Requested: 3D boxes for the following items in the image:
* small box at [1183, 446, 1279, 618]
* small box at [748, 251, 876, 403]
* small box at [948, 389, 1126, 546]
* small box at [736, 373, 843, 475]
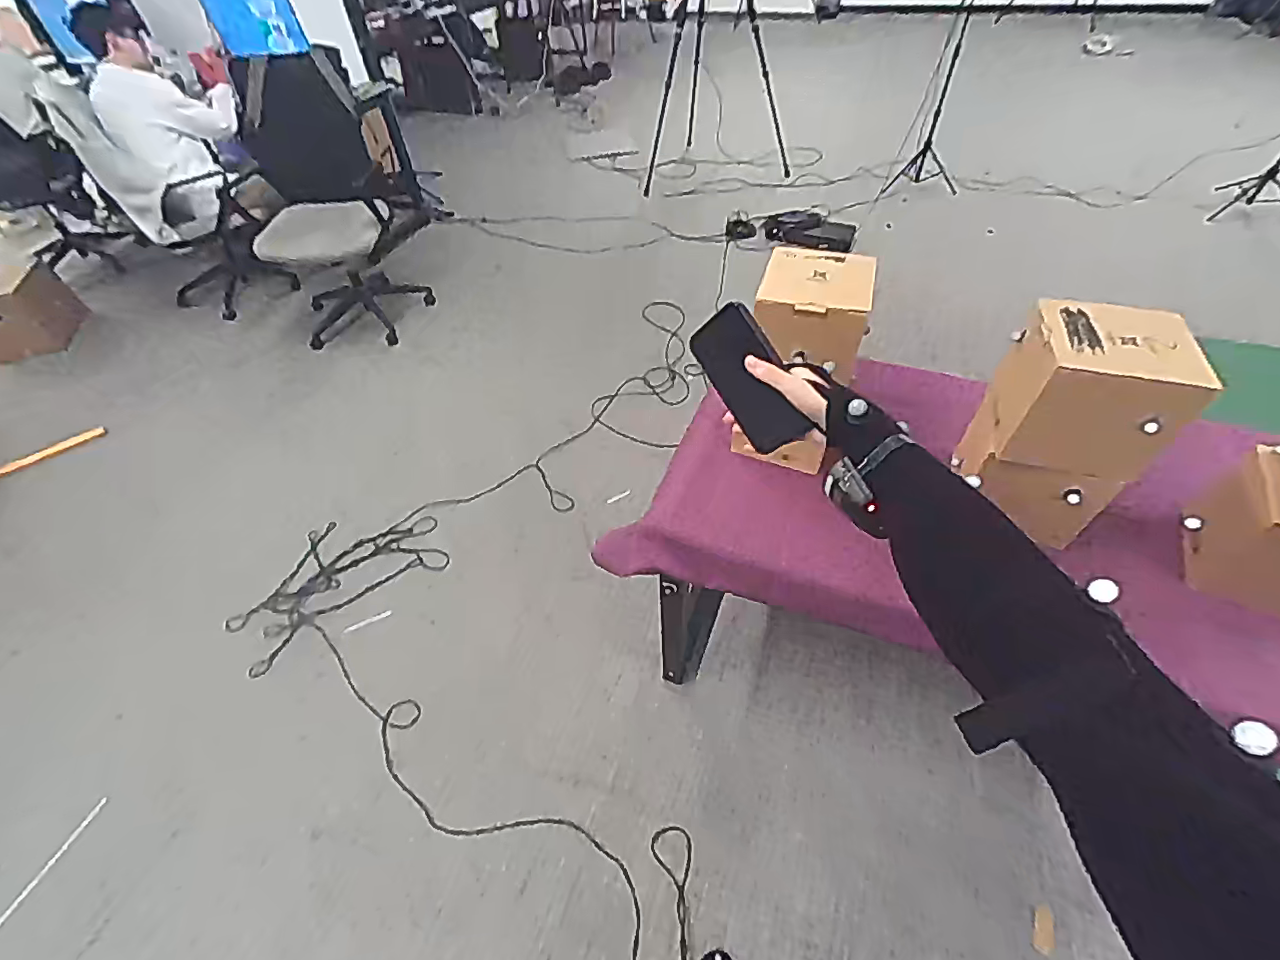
[{"bbox_3d":[0.936,0.086,0.767,0.179,0.176,0.168,22,53,22],"label":"small box"},{"bbox_3d":[0.279,-0.252,0.896,0.168,0.176,0.179,13,51,15],"label":"small box"},{"bbox_3d":[0.632,-0.017,0.879,0.179,0.176,0.168,16,51,18],"label":"small box"},{"bbox_3d":[0.284,-0.137,1.013,0.168,0.176,0.179,17,52,18],"label":"small box"}]
